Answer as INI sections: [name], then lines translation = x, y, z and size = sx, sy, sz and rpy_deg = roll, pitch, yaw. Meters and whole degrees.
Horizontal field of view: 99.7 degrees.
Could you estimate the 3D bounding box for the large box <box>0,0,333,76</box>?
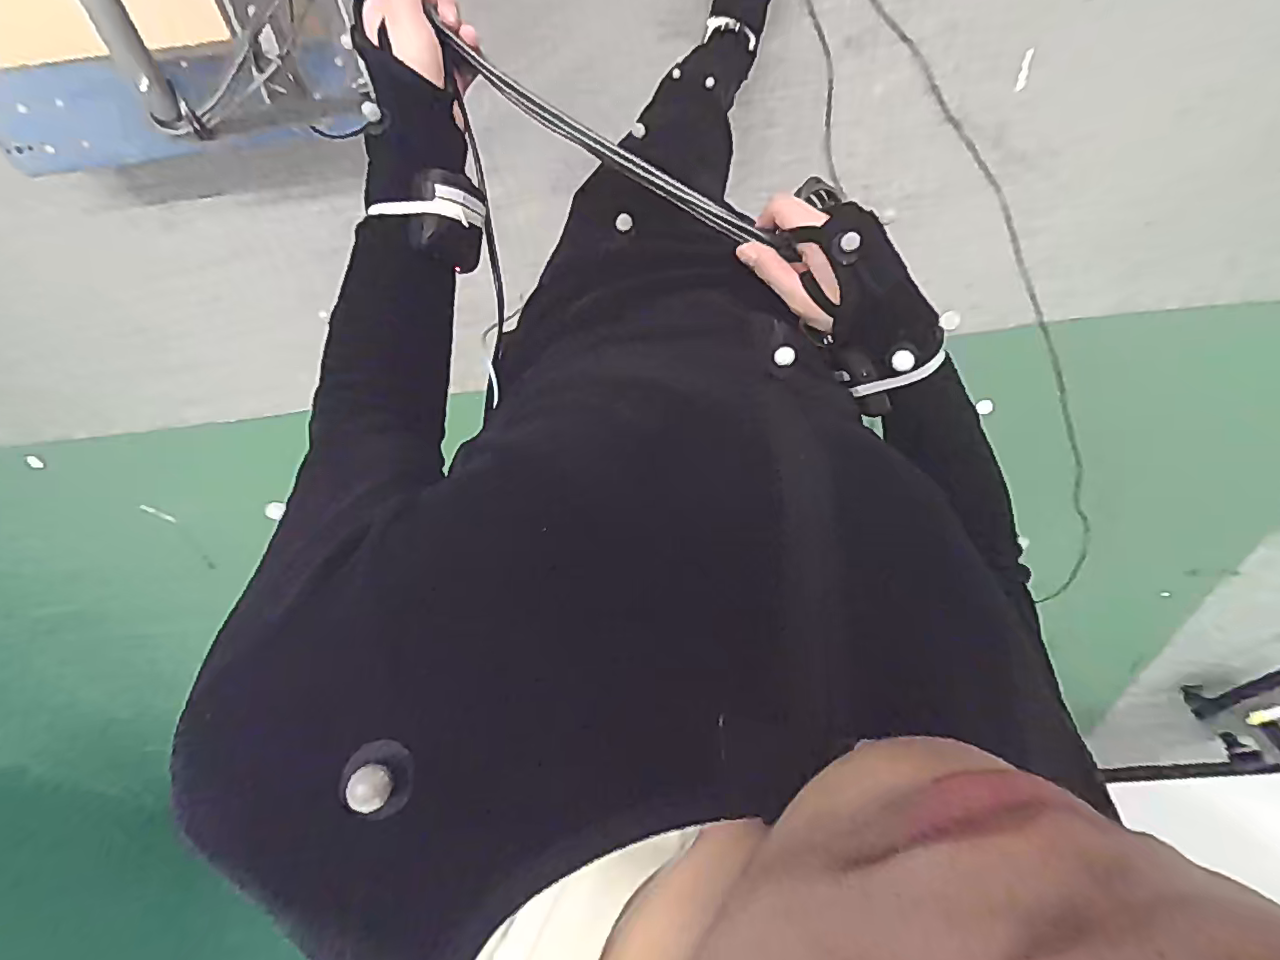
[large box]
translation = -0.767, -0.815, 0.790
size = 0.408, 0.320, 0.320
rpy_deg = -4, 129, 4
